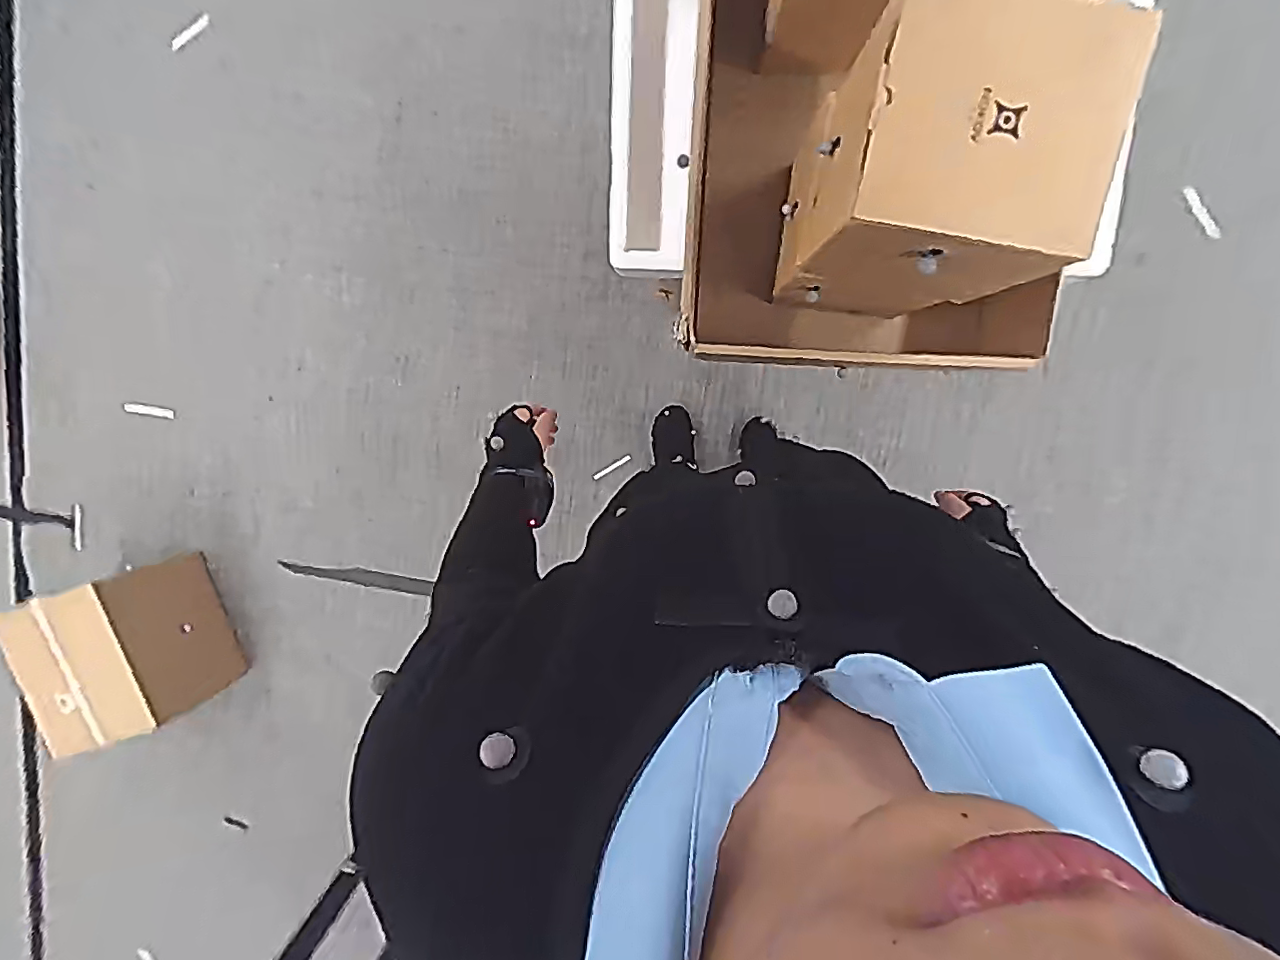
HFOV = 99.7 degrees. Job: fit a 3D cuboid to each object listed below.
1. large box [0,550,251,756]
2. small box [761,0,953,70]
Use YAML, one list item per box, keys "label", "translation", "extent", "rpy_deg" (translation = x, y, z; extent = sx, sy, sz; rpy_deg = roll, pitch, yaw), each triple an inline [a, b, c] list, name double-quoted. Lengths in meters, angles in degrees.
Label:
- label: "large box"
  translation: [-1.399, 0.458, 1.498]
  extent: [0.320, 0.320, 0.408]
  rpy_deg: [-18, 97, 7]
- label: "small box"
  translation: [0.234, -0.567, 0.567]
  extent: [0.179, 0.176, 0.168]
  rpy_deg: [1, 100, 2]
